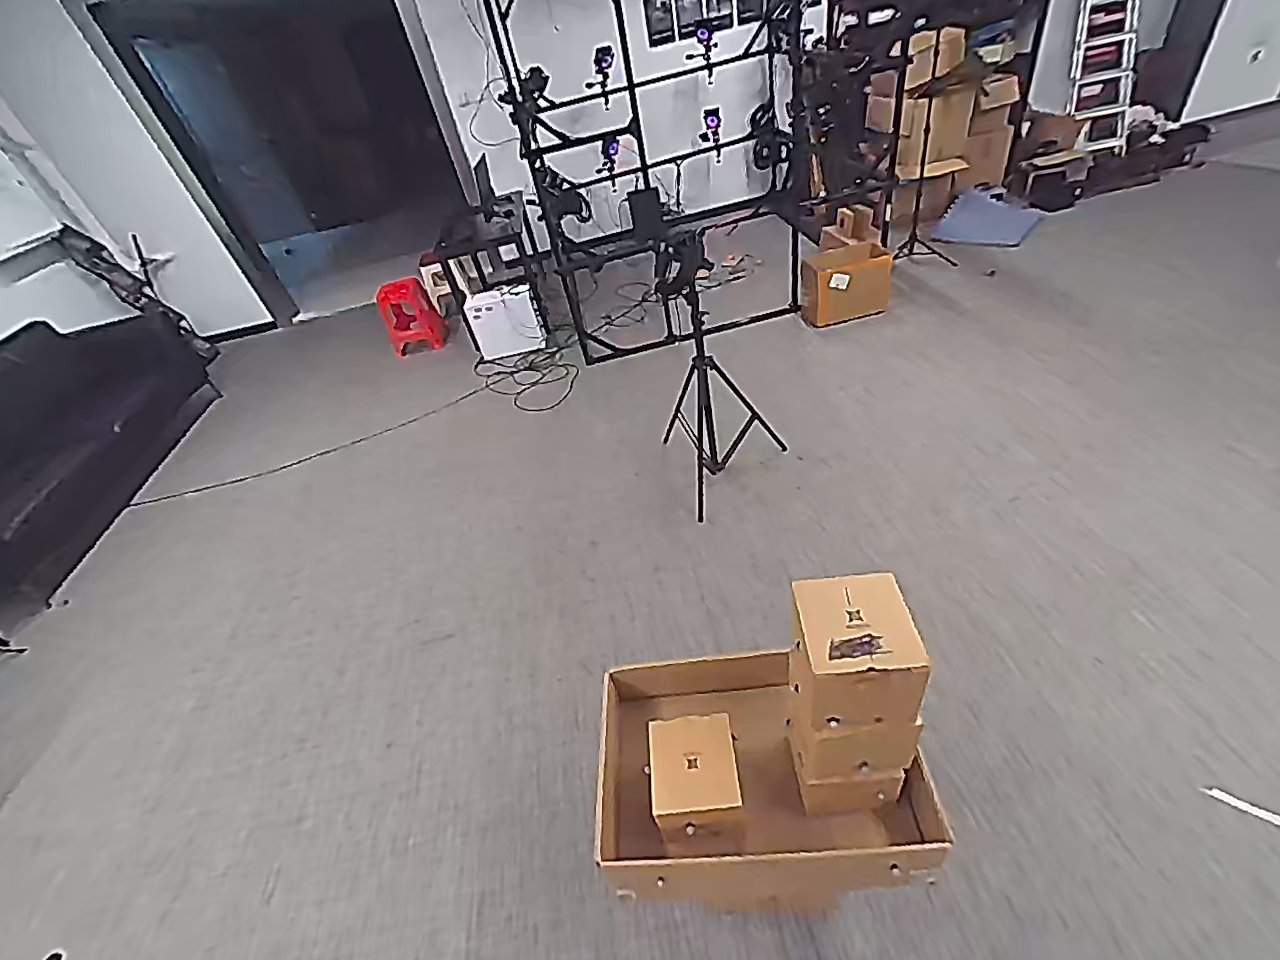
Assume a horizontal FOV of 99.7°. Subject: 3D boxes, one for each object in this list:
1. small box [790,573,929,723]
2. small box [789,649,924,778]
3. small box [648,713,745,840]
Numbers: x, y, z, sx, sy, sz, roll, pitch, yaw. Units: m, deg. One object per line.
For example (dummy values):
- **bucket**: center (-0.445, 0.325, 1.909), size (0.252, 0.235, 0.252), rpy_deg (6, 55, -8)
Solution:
- **small box**: center (0.342, 0.277, 0.875), size (0.168, 0.176, 0.179), rpy_deg (-7, 39, 8)
- **small box**: center (0.372, 0.410, 0.968), size (0.179, 0.176, 0.168), rpy_deg (-9, 39, 4)
- **small box**: center (0.112, 0.598, 1.082), size (0.168, 0.176, 0.179), rpy_deg (-9, 39, 5)
